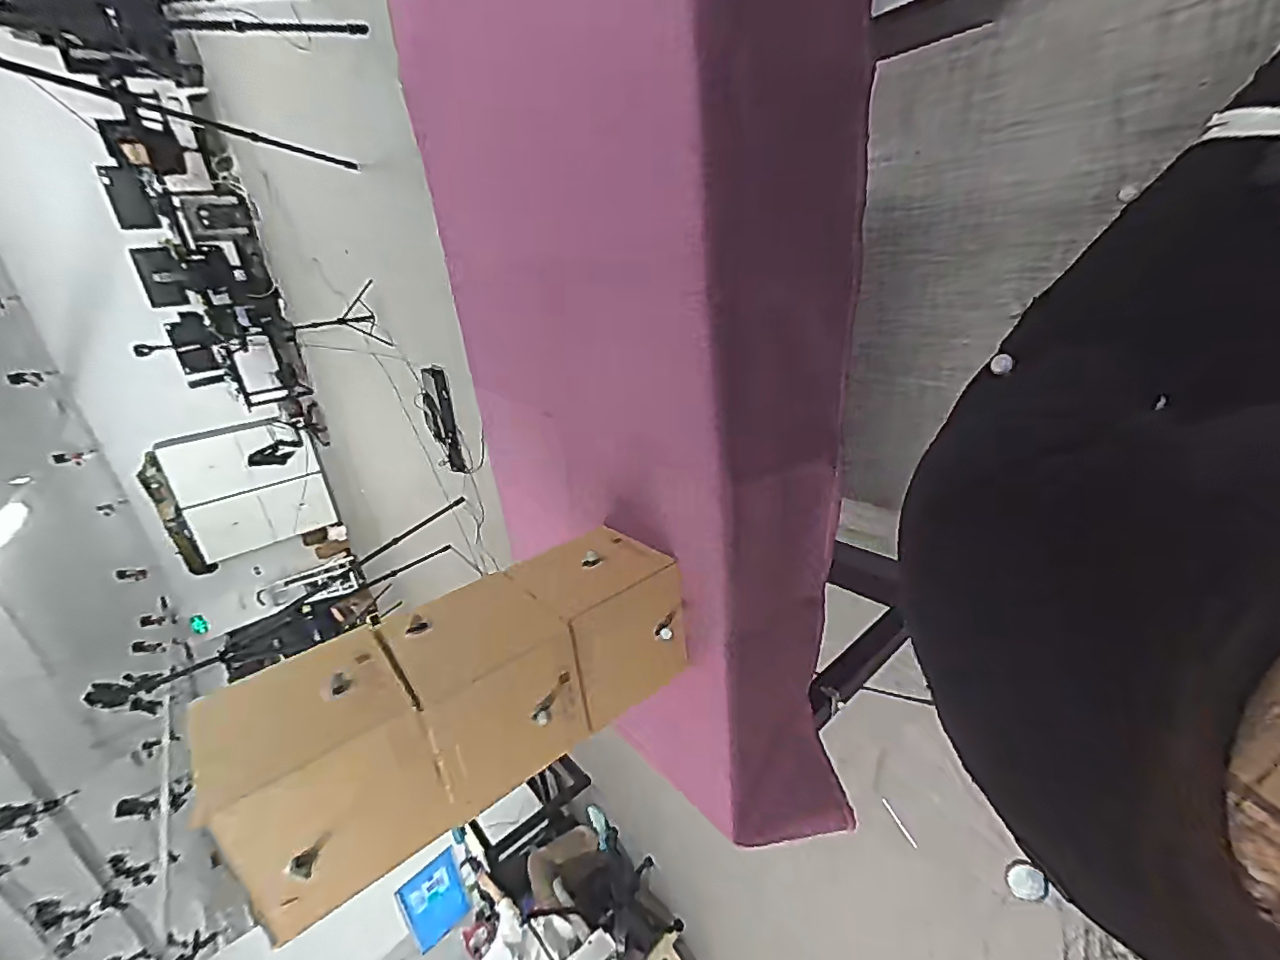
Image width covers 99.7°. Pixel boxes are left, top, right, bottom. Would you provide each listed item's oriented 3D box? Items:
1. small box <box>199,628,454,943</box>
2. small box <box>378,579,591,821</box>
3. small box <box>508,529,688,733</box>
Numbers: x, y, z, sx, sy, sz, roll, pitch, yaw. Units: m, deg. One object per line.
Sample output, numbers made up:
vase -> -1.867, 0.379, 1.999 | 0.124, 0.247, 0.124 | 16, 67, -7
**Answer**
small box -> -0.306, 0.286, 0.545 | 0.168, 0.176, 0.179 | 22, 125, 46
small box -> -0.180, 0.238, 0.639 | 0.179, 0.176, 0.168 | 20, 125, 46
small box -> -0.052, 0.187, 0.730 | 0.168, 0.176, 0.179 | 19, 122, 48
